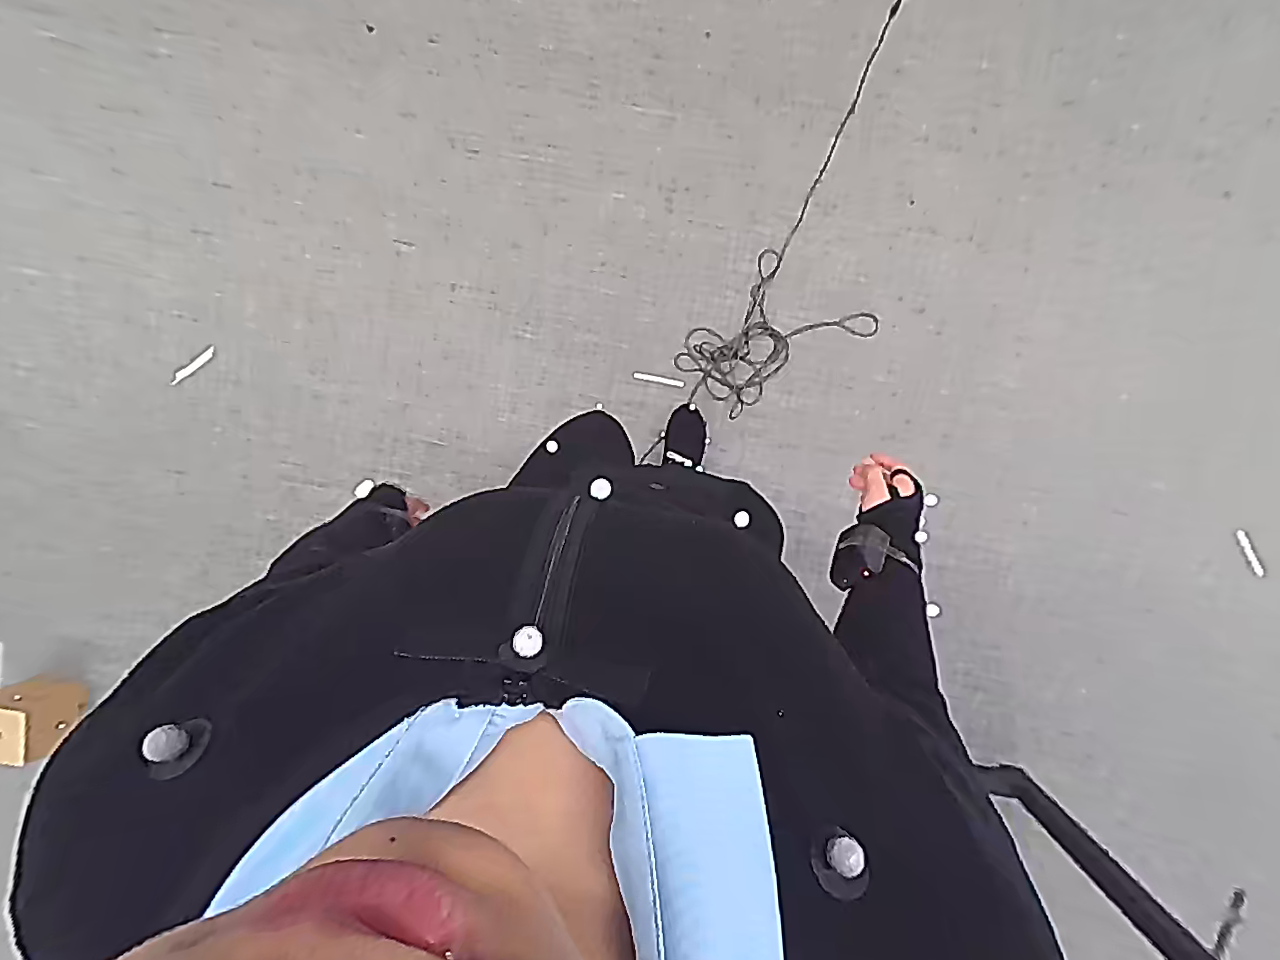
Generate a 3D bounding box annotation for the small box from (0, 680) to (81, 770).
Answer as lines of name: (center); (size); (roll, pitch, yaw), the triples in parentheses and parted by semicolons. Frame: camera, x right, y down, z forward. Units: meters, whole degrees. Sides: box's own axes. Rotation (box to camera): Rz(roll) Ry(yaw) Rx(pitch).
small box: (-1.784, 0.700, 1.564); (0.179, 0.176, 0.168); (9, 95, 3)
